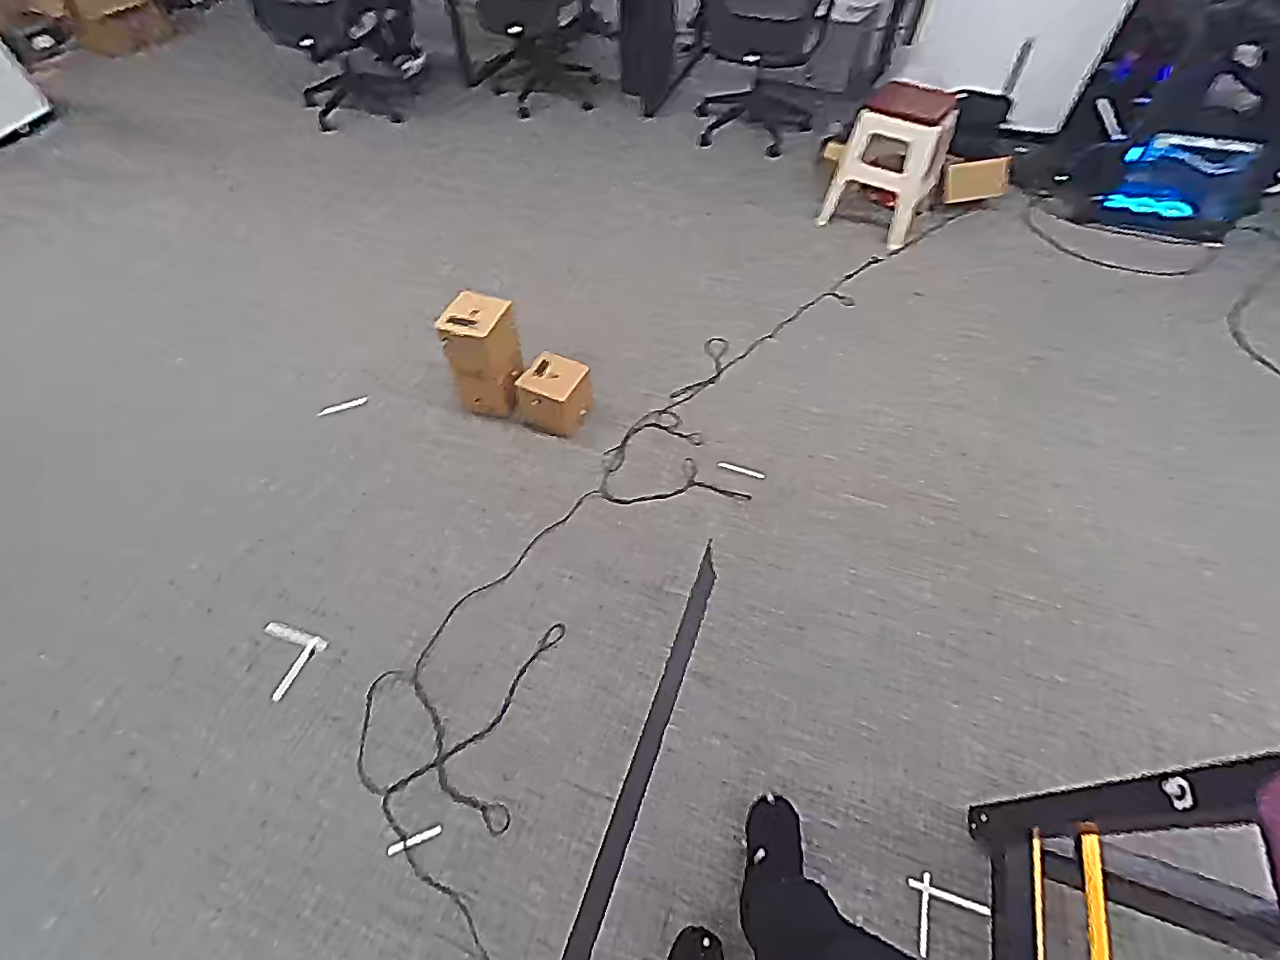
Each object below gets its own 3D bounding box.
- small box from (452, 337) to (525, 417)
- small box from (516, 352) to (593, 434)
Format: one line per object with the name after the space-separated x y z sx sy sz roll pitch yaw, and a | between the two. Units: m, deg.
-0.484 -0.336 1.771 0.168 0.176 0.179 11 56 8 | small box
-0.265 -0.272 1.720 0.179 0.176 0.168 22 58 15 | small box
